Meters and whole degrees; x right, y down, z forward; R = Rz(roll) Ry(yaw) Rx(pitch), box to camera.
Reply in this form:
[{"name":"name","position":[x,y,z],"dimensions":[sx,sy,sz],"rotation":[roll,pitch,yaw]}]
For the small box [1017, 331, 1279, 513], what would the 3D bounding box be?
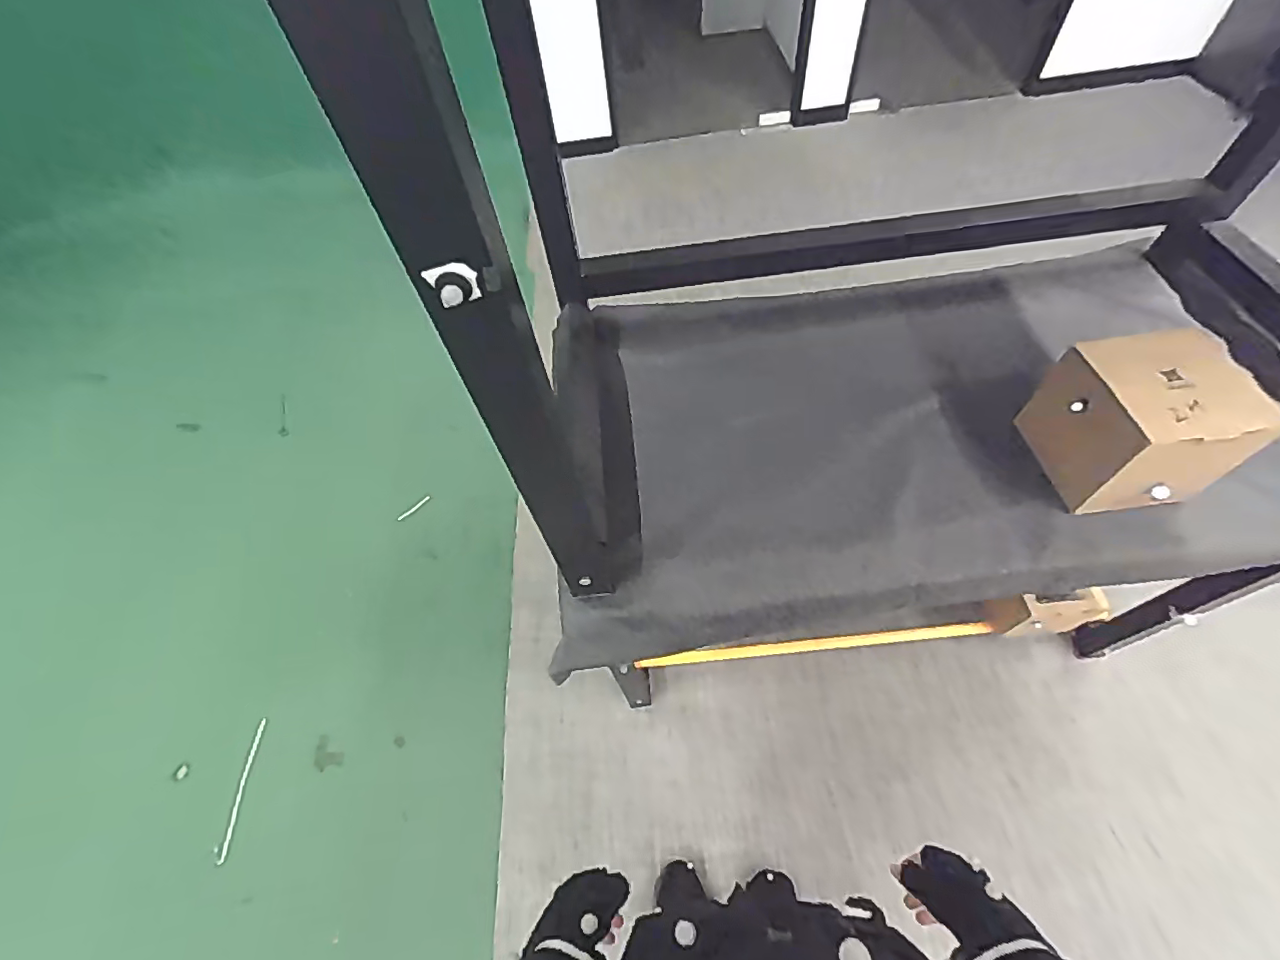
[{"name":"small box","position":[0.674,-0.077,0.749],"dimensions":[0.168,0.176,0.179],"rotation":[-7,55,2]}]
